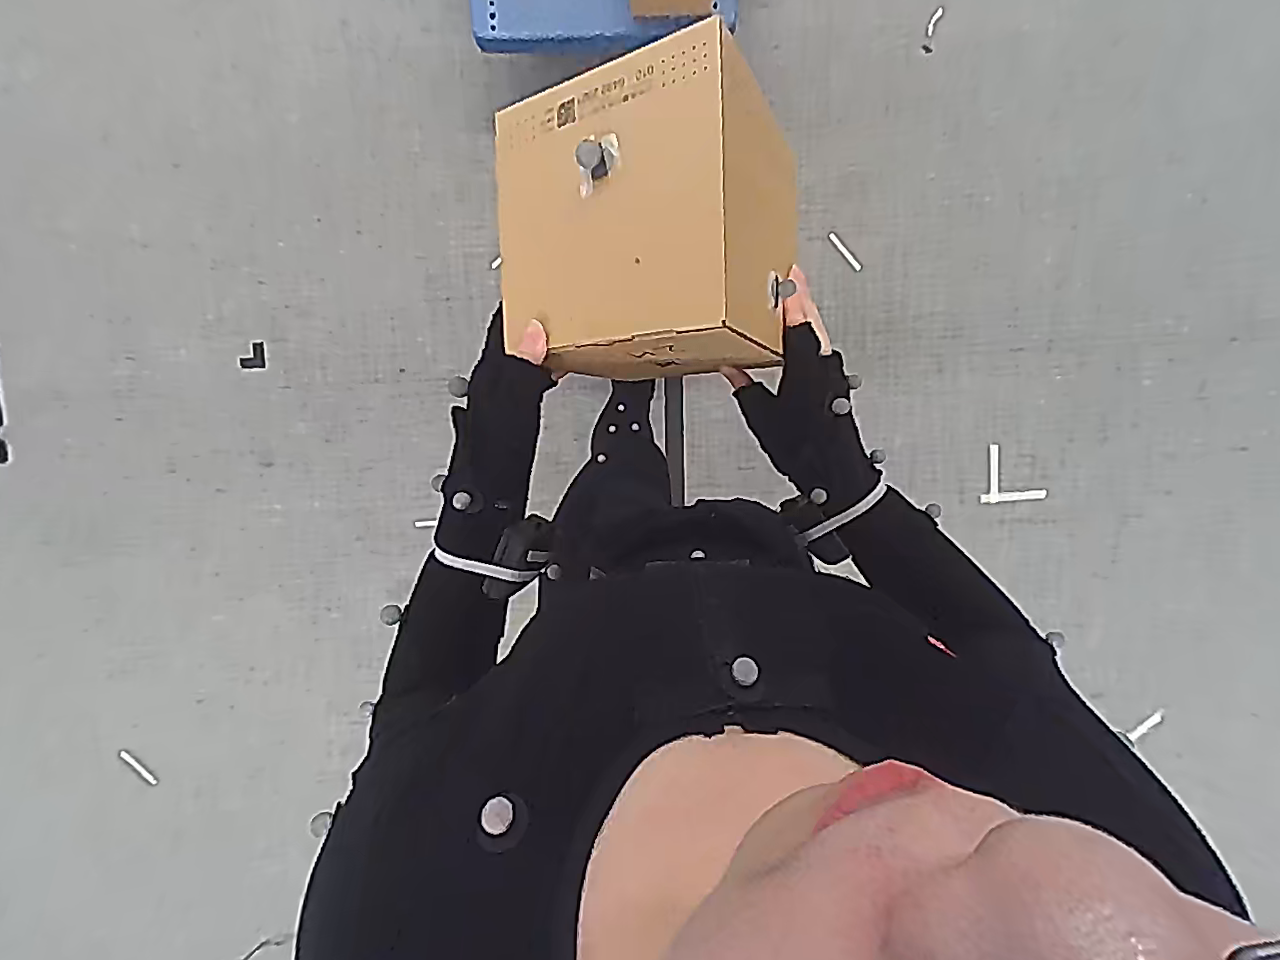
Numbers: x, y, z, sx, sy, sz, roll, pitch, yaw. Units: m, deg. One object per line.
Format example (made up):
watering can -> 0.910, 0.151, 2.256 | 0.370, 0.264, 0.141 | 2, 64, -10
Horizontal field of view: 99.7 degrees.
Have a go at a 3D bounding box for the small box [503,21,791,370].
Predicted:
small box -> 0.016, -0.183, 0.411 | 0.168, 0.179, 0.176 | 0, 93, 29

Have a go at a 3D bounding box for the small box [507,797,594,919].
small box -> -0.214, 0.932, 1.343 | 0.168, 0.176, 0.179 | -10, 96, 2
